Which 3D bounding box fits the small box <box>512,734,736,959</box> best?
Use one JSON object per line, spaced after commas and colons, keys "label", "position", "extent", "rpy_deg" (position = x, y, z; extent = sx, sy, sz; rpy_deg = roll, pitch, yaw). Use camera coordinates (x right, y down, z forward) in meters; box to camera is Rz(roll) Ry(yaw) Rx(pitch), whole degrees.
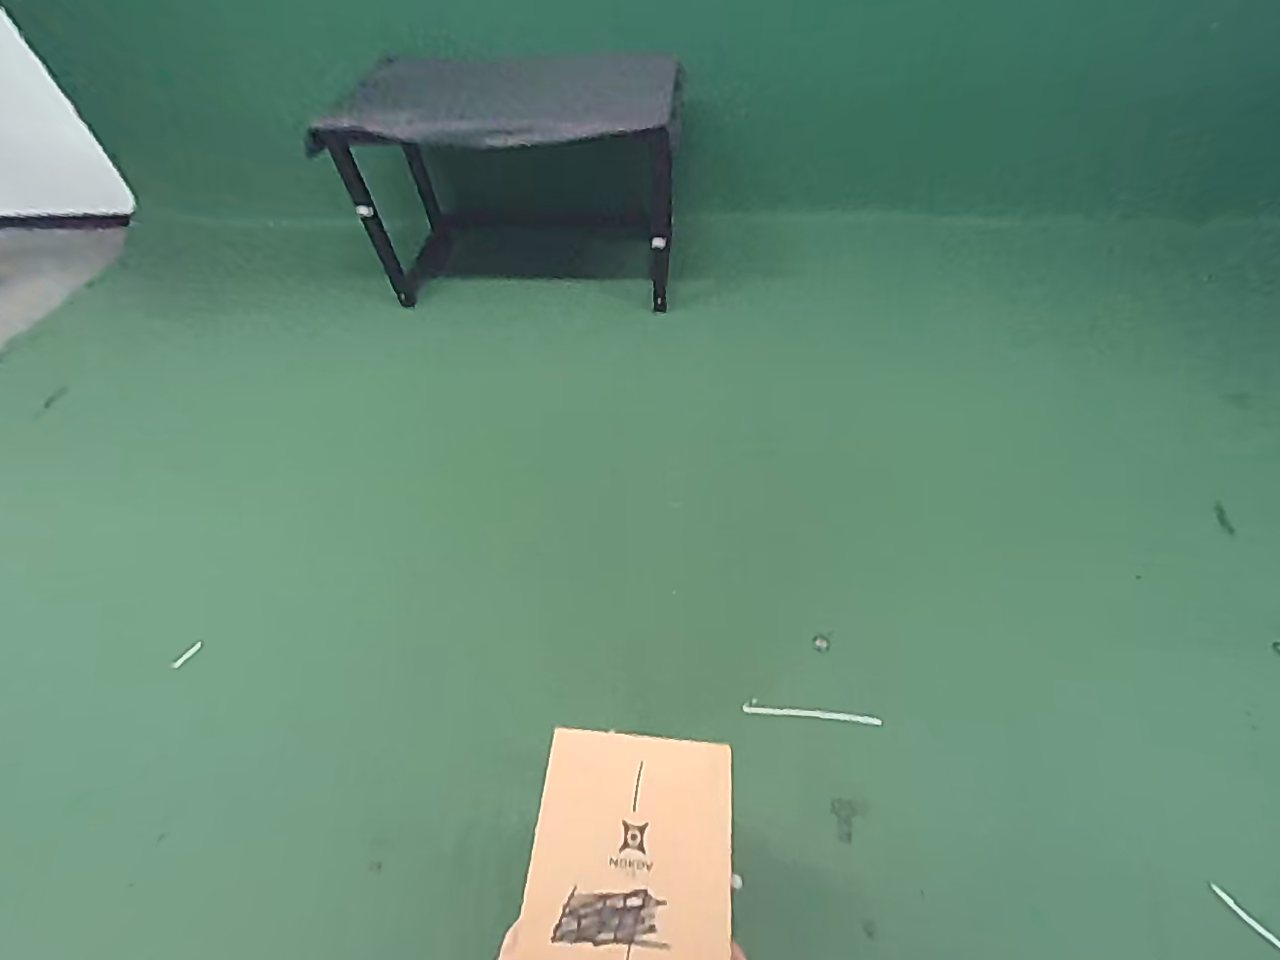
{"label": "small box", "position": [-0.003, 0.355, 0.500], "extent": [0.168, 0.176, 0.179], "rpy_deg": [5, 53, 5]}
